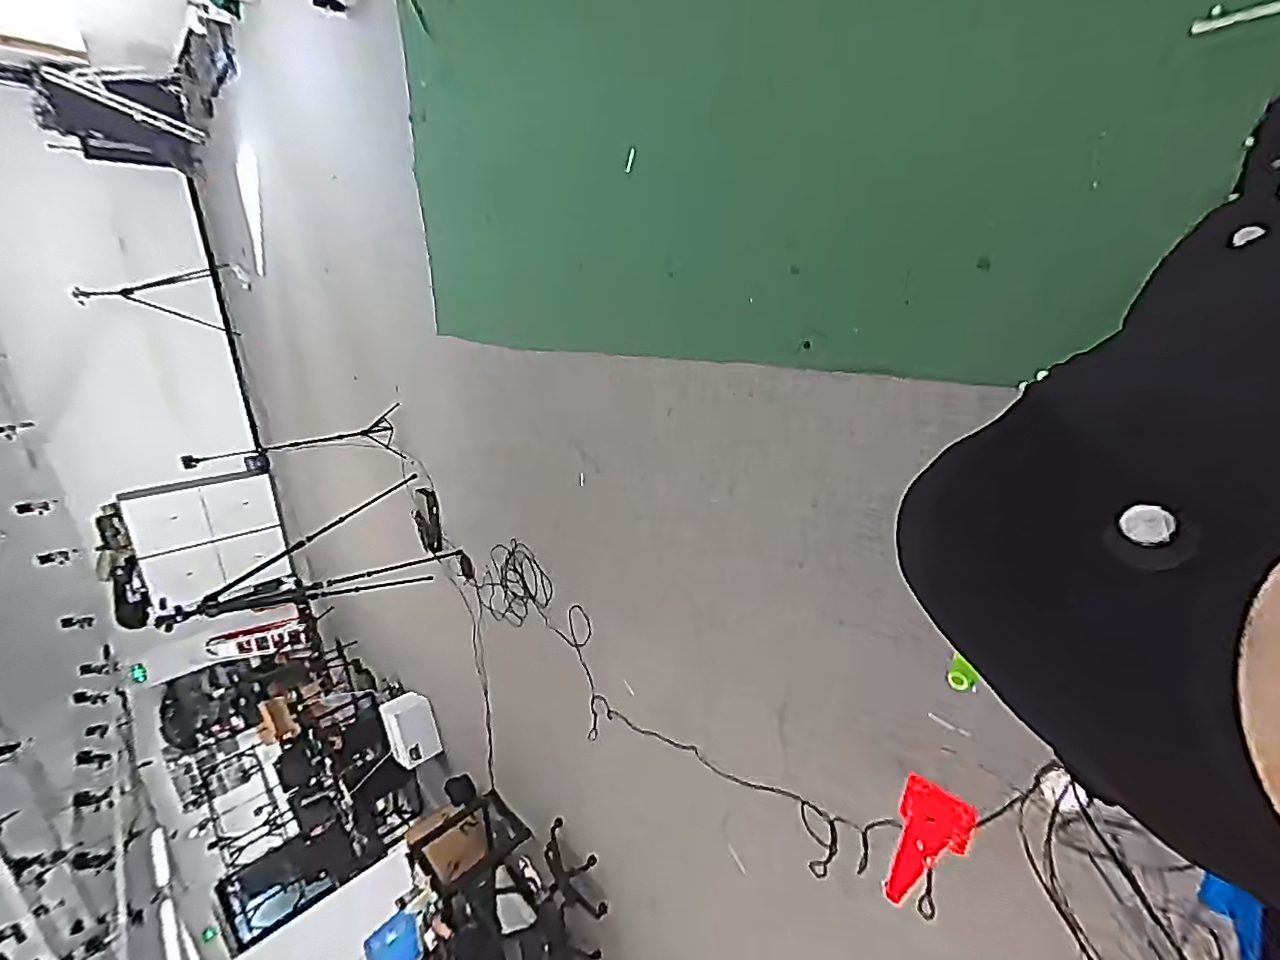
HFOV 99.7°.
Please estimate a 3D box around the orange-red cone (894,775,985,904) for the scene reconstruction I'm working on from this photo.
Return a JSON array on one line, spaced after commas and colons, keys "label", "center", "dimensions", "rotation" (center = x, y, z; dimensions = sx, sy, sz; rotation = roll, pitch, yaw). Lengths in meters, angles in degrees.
[{"label": "orange-red cone", "center": [0.816, 1.070, 1.555], "dimensions": [0.198, 0.360, 0.199], "rotation": [22, 118, 40]}]
